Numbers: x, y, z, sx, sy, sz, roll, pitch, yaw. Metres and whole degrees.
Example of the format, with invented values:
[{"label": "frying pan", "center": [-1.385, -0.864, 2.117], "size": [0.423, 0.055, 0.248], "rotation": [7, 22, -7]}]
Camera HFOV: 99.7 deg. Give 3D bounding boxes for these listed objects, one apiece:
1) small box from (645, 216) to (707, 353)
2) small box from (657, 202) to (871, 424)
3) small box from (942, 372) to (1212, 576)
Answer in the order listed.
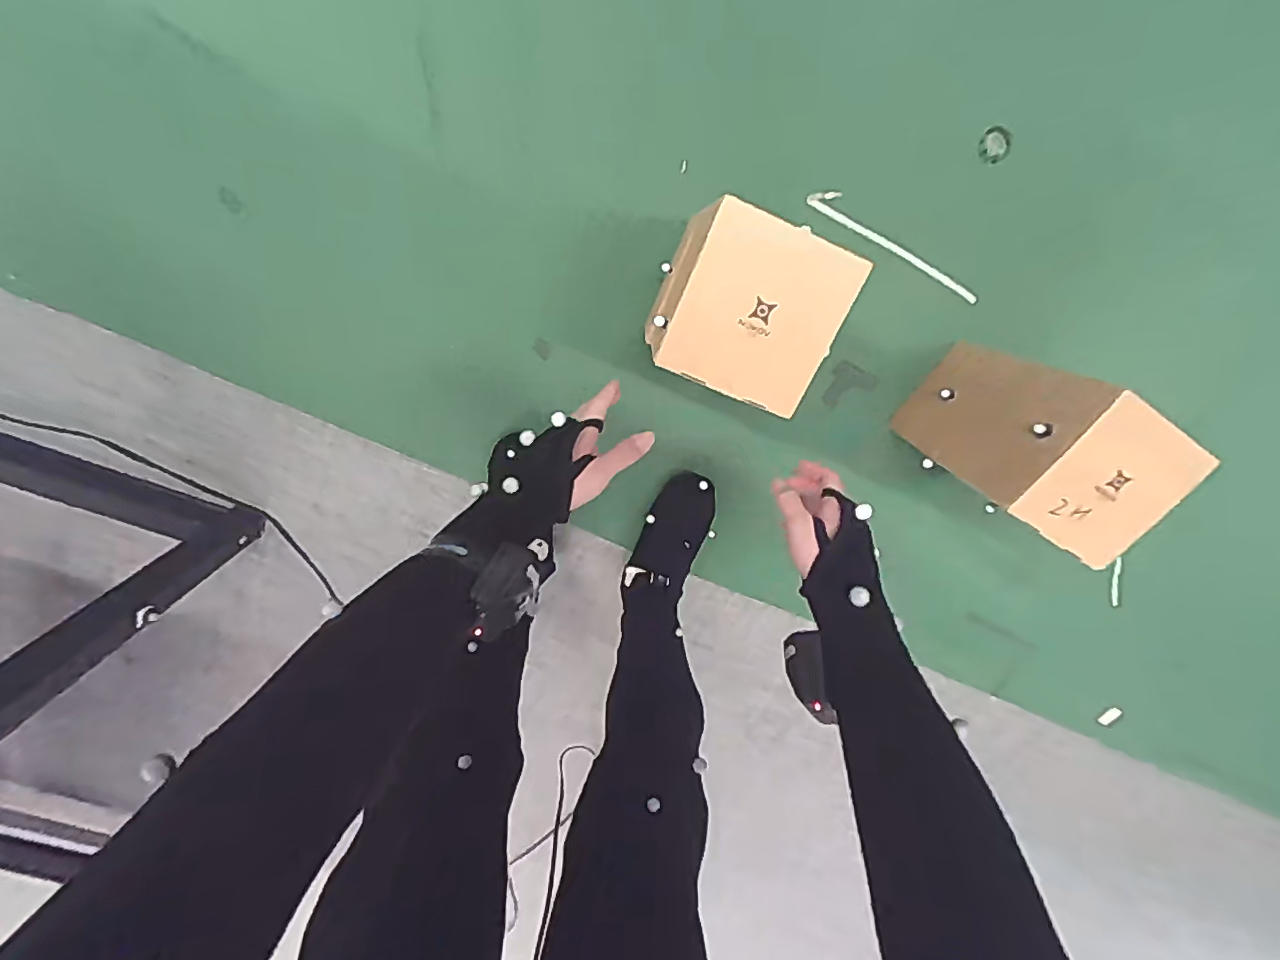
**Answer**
[{"label": "small box", "center": [0.117, -0.253, 0.778], "size": [0.168, 0.176, 0.179], "rotation": [22, 111, -9]}, {"label": "small box", "center": [0.123, -0.194, 0.627], "size": [0.168, 0.176, 0.179], "rotation": [21, 112, -9]}, {"label": "small box", "center": [0.541, -0.018, 0.700], "size": [0.168, 0.176, 0.179], "rotation": [30, 110, -12]}]
